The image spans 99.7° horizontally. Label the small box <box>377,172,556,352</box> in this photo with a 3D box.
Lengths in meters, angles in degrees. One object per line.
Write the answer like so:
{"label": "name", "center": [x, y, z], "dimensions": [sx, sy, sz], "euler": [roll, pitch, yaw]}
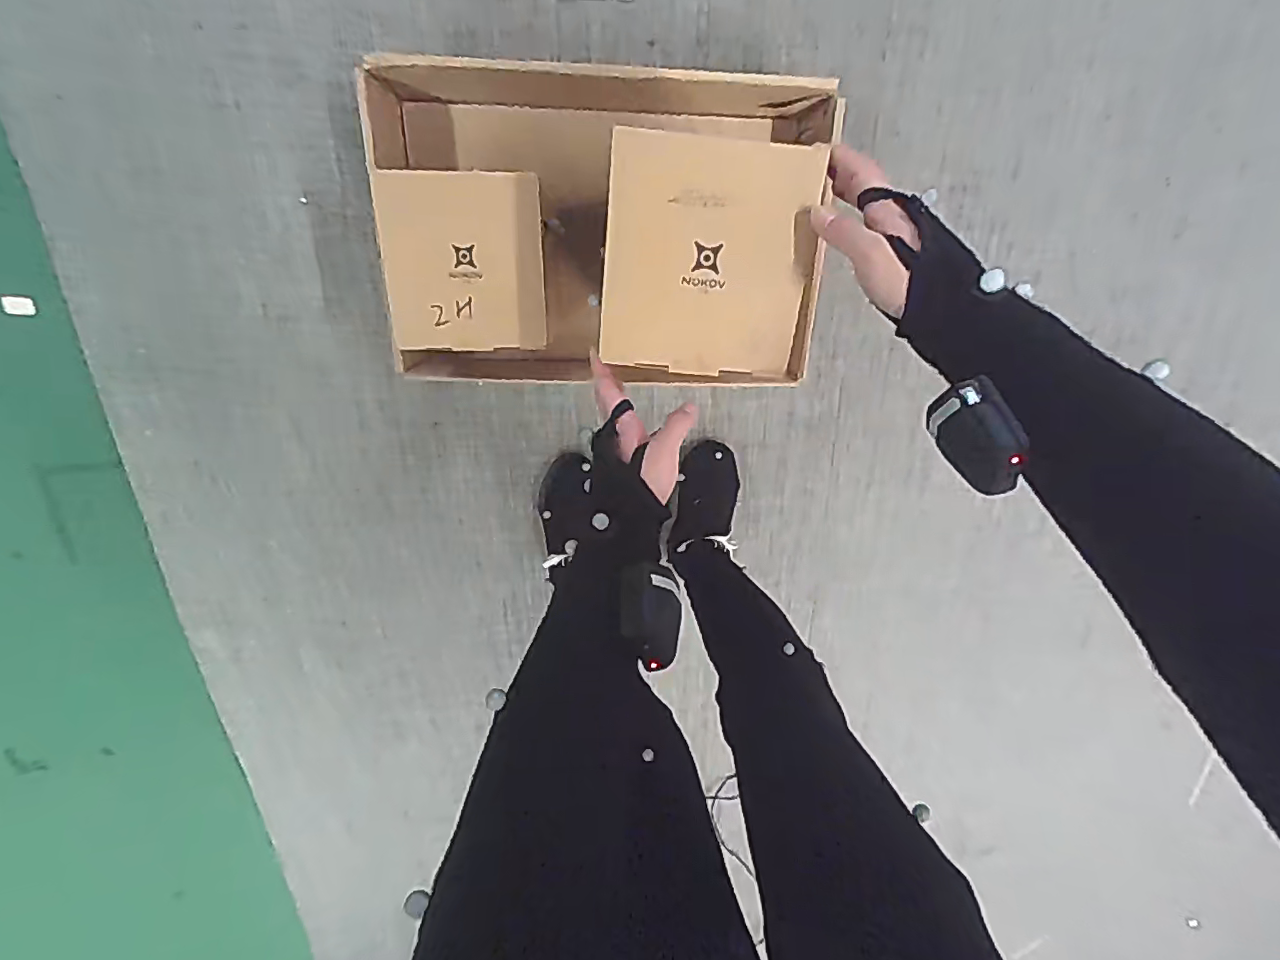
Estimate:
{"label": "small box", "center": [-0.189, -0.251, 0.645], "dimensions": [0.168, 0.176, 0.179], "euler": [-1, 111, -5]}

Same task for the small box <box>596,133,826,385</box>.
{"label": "small box", "center": [0.051, -0.201, 0.510], "dimensions": [0.168, 0.176, 0.179], "euler": [5, 113, -4]}
